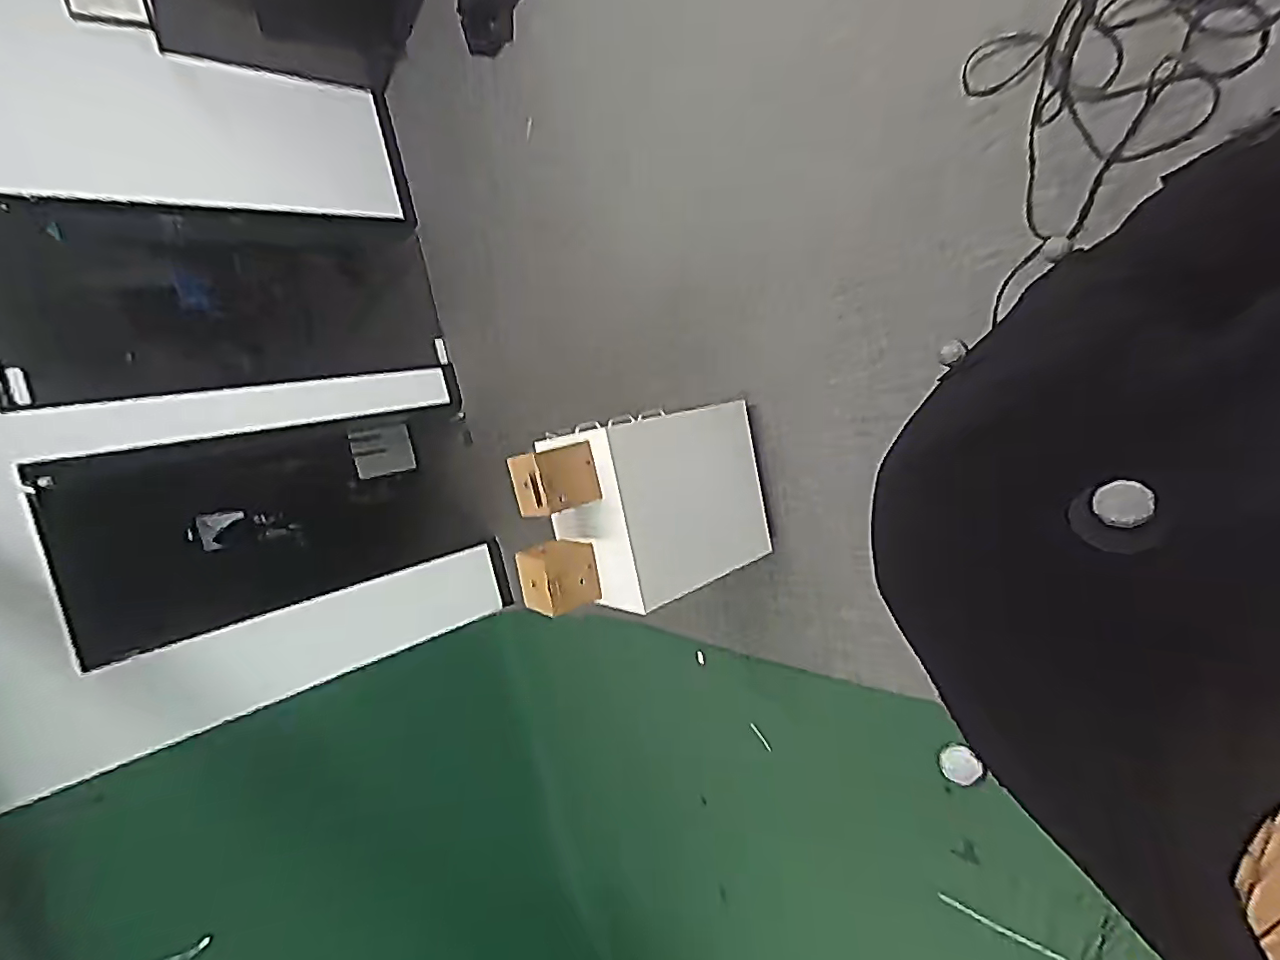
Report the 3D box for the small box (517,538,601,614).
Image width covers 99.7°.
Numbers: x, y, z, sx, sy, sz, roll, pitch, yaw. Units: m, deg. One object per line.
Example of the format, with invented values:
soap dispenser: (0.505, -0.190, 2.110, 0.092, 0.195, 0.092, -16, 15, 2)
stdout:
small box: (-0.236, 0.274, 1.585, 0.179, 0.176, 0.168, 0, 102, 51)
